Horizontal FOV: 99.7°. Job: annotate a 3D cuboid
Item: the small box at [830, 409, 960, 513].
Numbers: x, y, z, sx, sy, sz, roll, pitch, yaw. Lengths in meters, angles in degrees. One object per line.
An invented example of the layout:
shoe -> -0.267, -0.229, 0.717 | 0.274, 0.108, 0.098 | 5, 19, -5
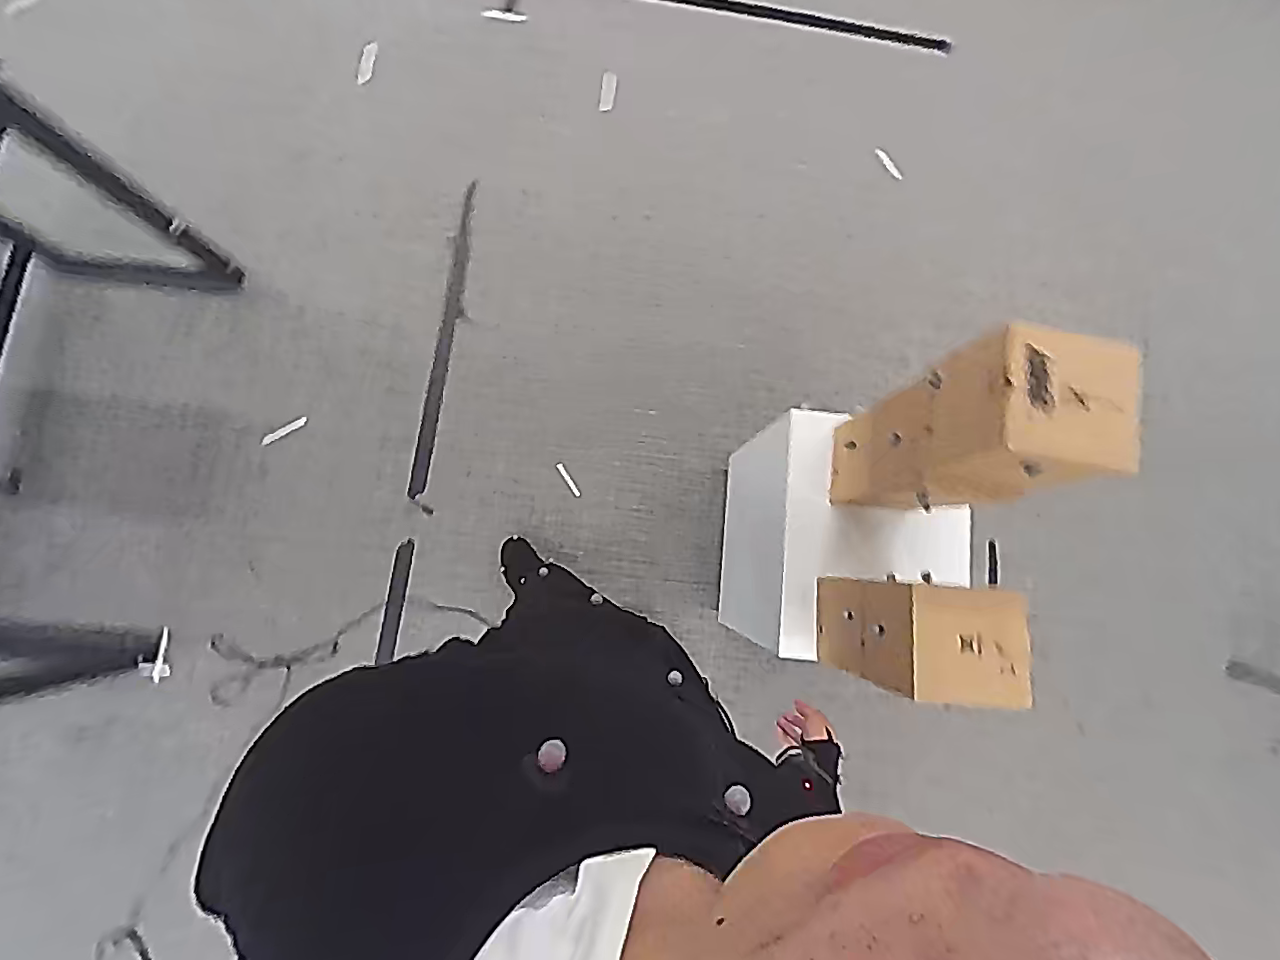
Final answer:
small box -> 0.491, -0.029, 1.056 | 0.179, 0.176, 0.168 | 7, 82, -4

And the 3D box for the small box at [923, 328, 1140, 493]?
small box -> 0.515, -0.081, 0.732 | 0.179, 0.176, 0.168 | 11, 81, -5

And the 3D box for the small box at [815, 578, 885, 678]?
small box -> 0.446, 0.273, 1.009 | 0.179, 0.176, 0.168 | 5, 80, -5

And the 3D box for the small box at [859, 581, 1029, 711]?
small box -> 0.461, 0.249, 0.845 | 0.179, 0.176, 0.168 | 5, 81, -4
